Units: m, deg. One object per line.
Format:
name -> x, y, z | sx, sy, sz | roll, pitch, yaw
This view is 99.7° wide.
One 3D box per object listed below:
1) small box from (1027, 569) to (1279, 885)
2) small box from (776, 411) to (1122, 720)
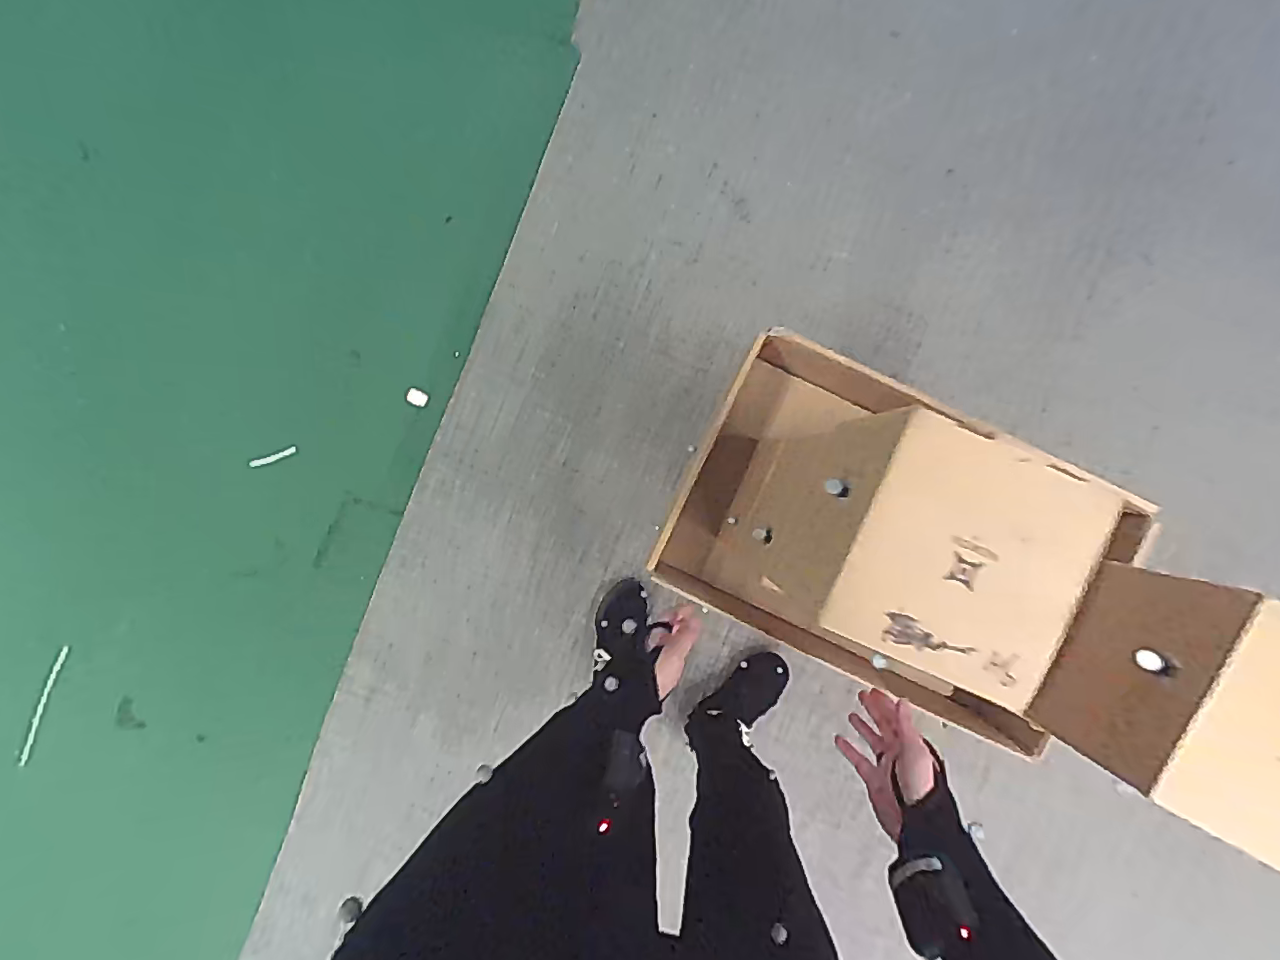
small box -> 0.480, 0.200, 0.469 | 0.168, 0.176, 0.179 | 29, 91, 1
small box -> 0.236, 0.060, 0.465 | 0.168, 0.176, 0.179 | 24, 92, 1
